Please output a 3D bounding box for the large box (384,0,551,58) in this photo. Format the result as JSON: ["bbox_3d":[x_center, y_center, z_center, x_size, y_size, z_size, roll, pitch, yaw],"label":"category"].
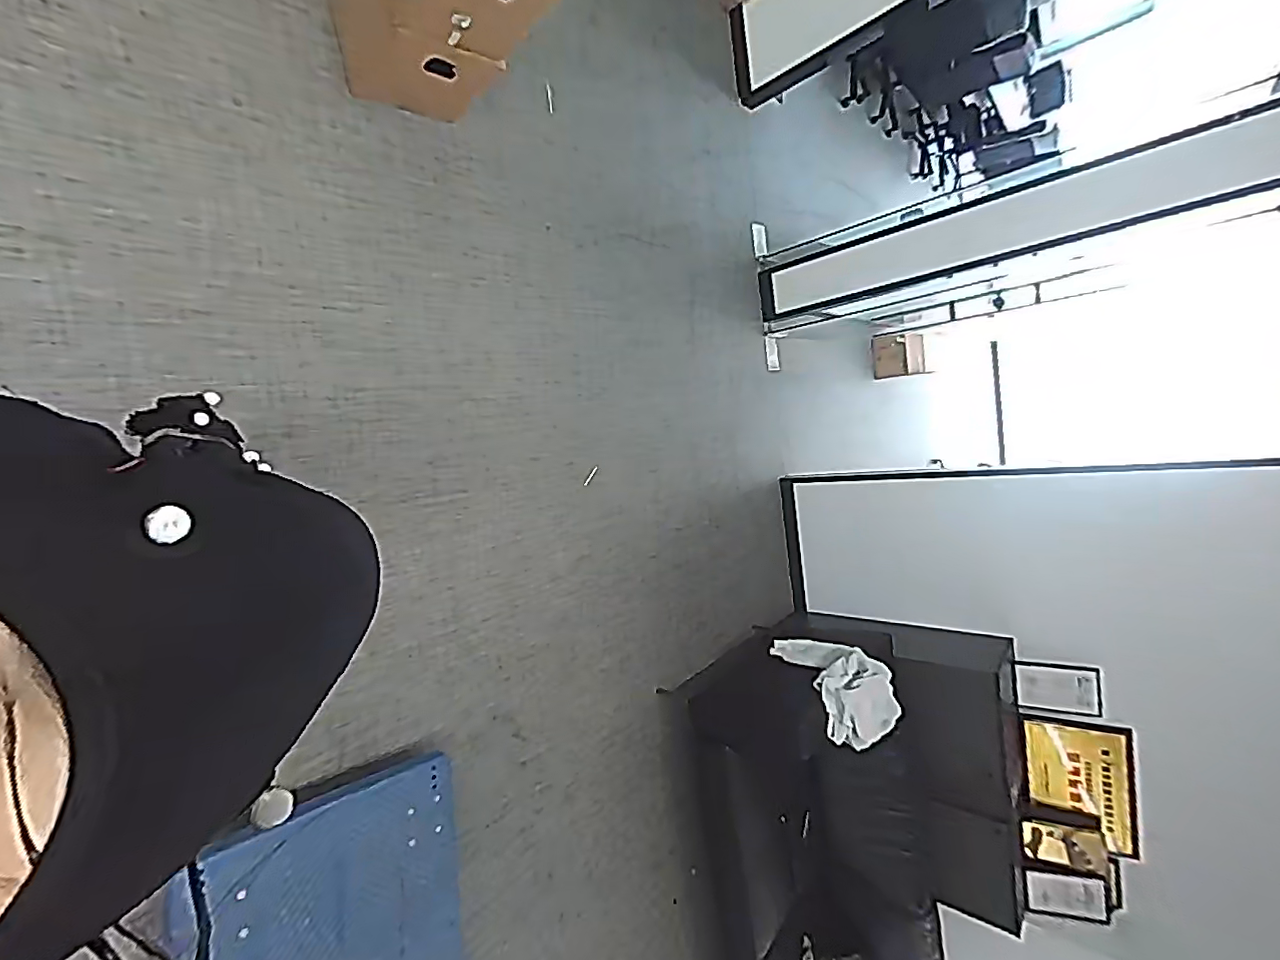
[{"bbox_3d":[-0.419,-1.298,1.233,0.320,0.320,0.408,-19,101,-45],"label":"large box"}]
